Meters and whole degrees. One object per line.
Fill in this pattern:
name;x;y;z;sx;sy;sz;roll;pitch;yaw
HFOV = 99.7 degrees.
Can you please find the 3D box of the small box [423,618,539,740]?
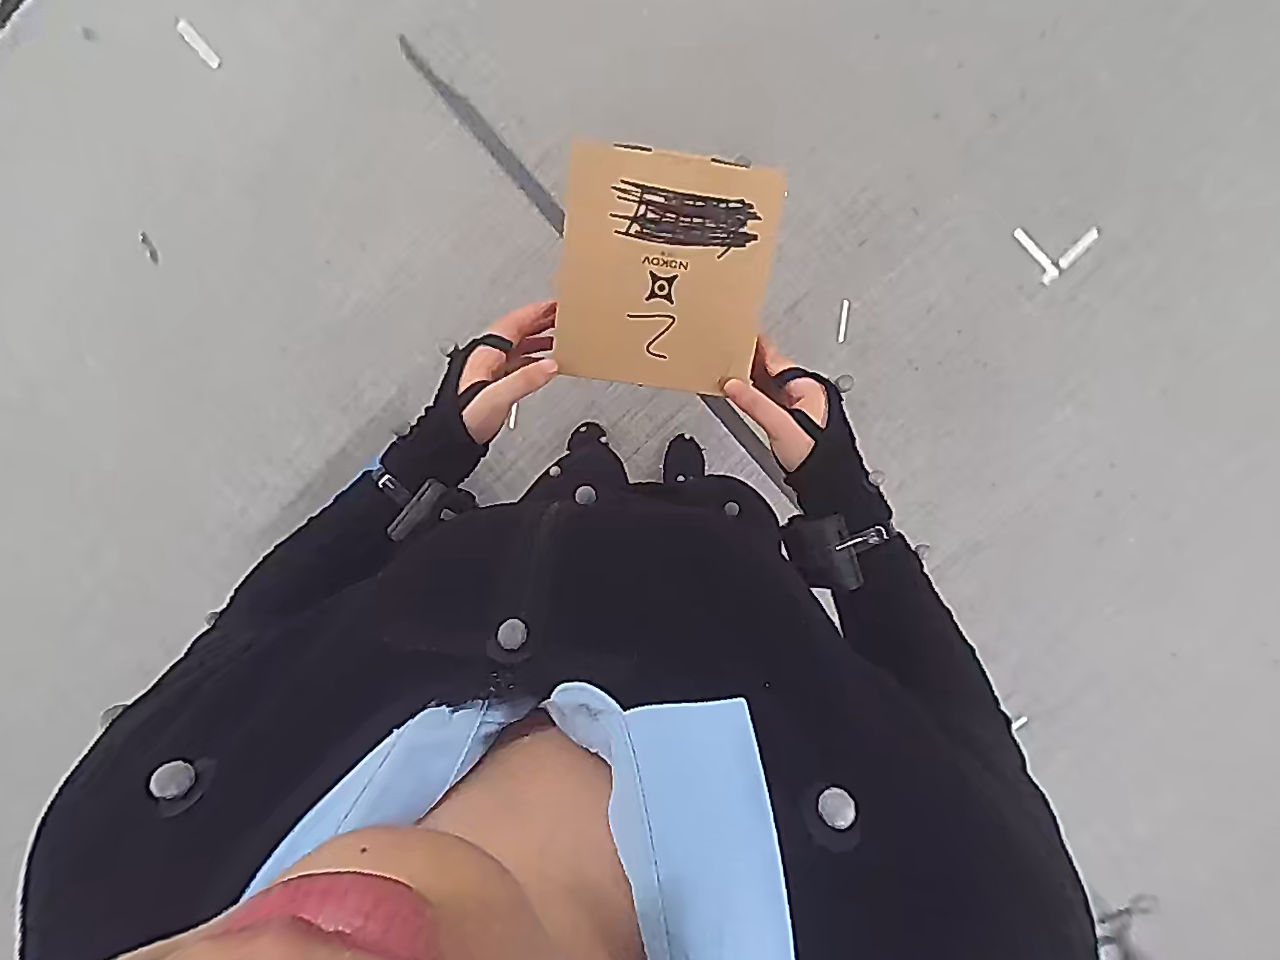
small box;-0.364;0.460;1.277;0.179;0.176;0.168;-45;92;5
